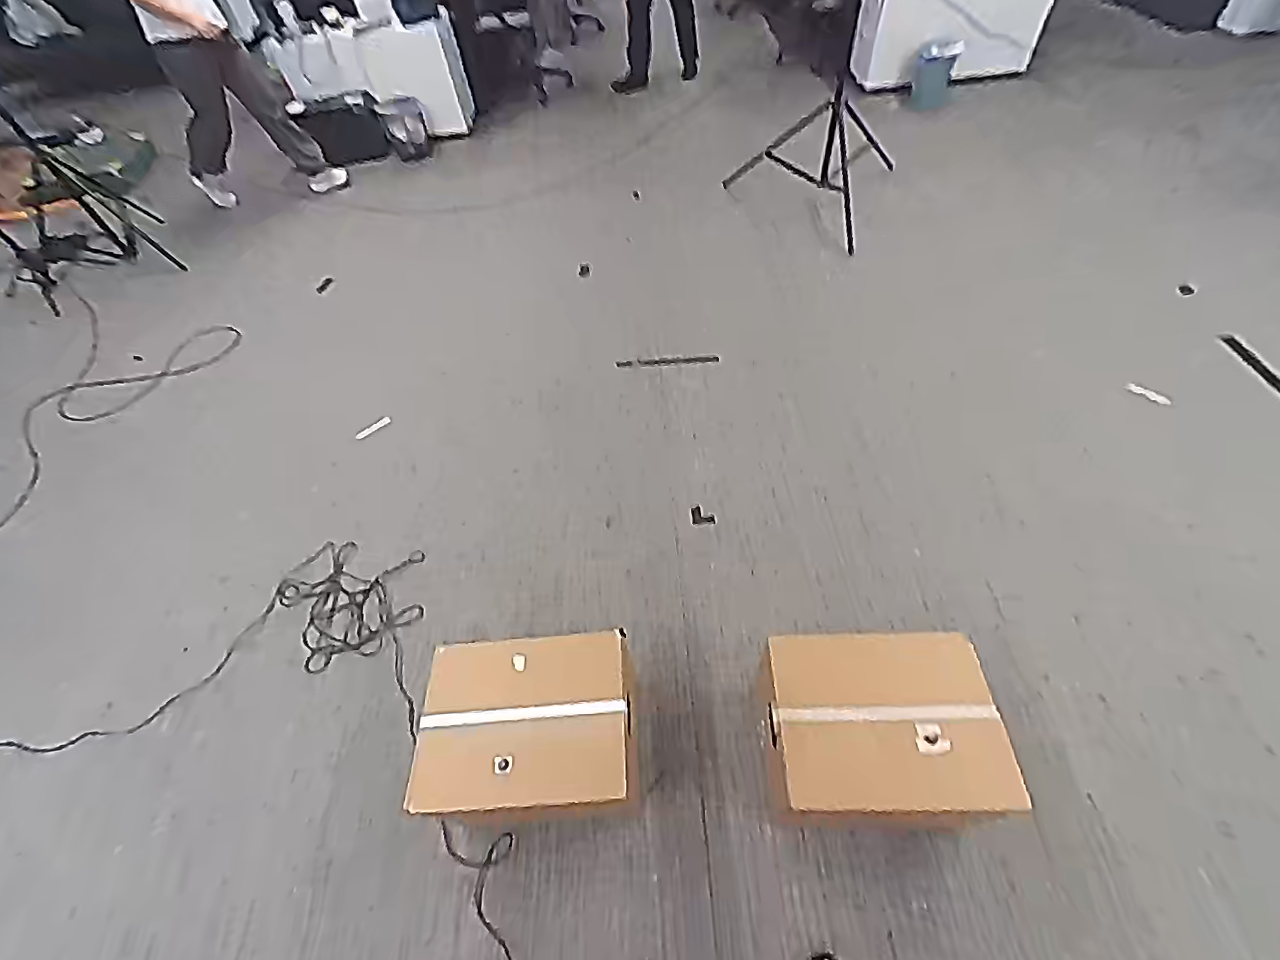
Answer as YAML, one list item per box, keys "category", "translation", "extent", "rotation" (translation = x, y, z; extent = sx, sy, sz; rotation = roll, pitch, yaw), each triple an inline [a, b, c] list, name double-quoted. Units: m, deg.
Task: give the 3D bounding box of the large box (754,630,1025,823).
- category: "large box"
  translation: [0.474, 0.527, 1.143]
  extent: [0.408, 0.320, 0.320]
  rotation: [-2, 53, 4]
